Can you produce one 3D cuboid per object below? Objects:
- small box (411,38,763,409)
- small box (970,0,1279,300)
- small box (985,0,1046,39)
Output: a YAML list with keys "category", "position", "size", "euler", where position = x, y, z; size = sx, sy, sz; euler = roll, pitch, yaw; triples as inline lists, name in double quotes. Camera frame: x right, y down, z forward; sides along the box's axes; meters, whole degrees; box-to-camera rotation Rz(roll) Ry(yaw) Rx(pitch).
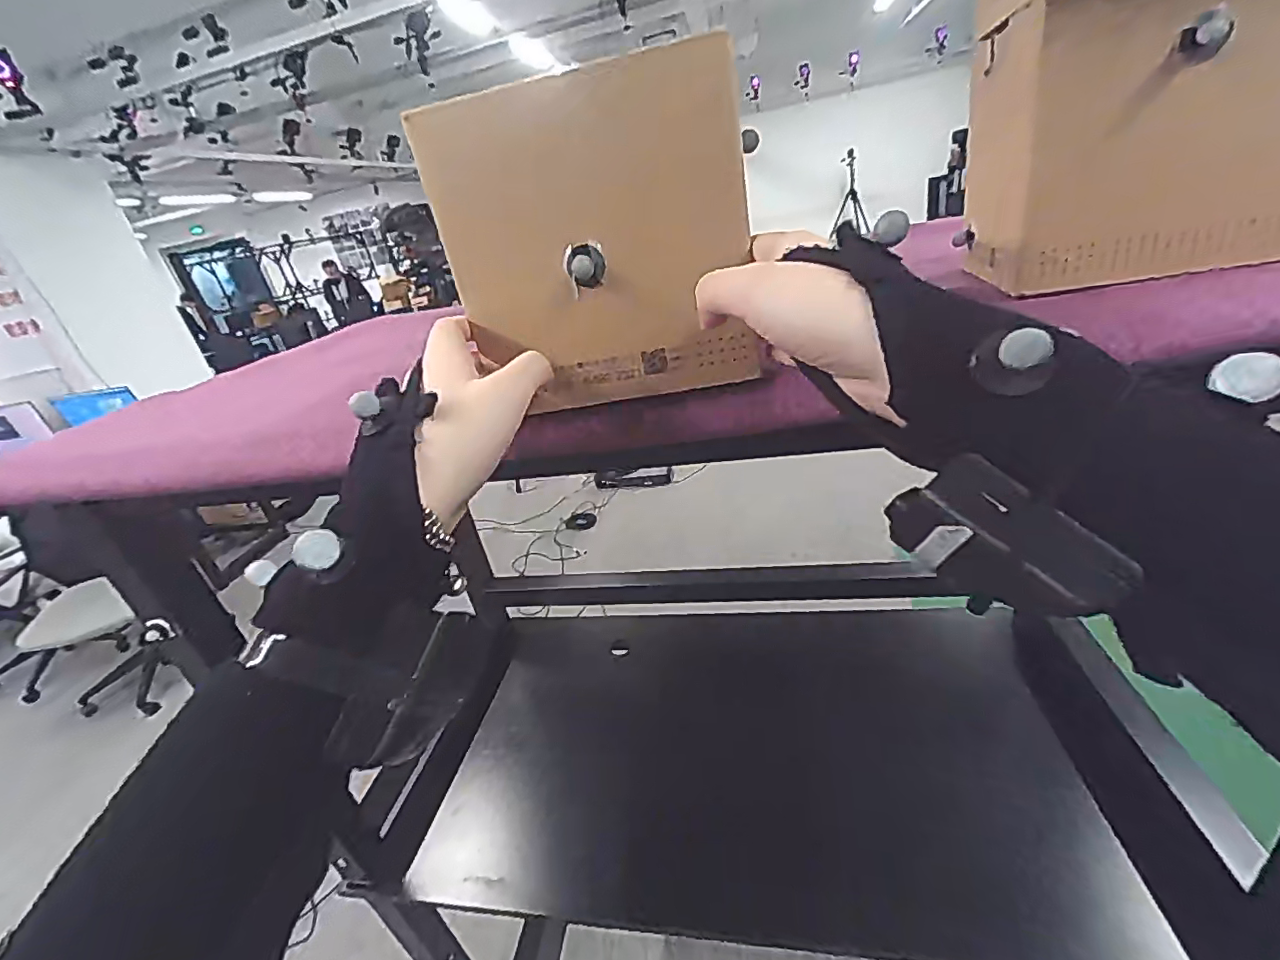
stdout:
- category: "small box"
  position: [-0.013, -0.153, 0.363]
  size: [0.168, 0.176, 0.179]
  euler: [-7, 27, 10]
- category: "small box"
  position: [0.340, -0.228, 0.368]
  size: [0.179, 0.176, 0.168]
  euler: [-2, 27, 19]
- category: "small box"
  position: [0.305, -0.365, 0.287]
  size: [0.179, 0.176, 0.168]
  euler: [-4, 26, 16]
